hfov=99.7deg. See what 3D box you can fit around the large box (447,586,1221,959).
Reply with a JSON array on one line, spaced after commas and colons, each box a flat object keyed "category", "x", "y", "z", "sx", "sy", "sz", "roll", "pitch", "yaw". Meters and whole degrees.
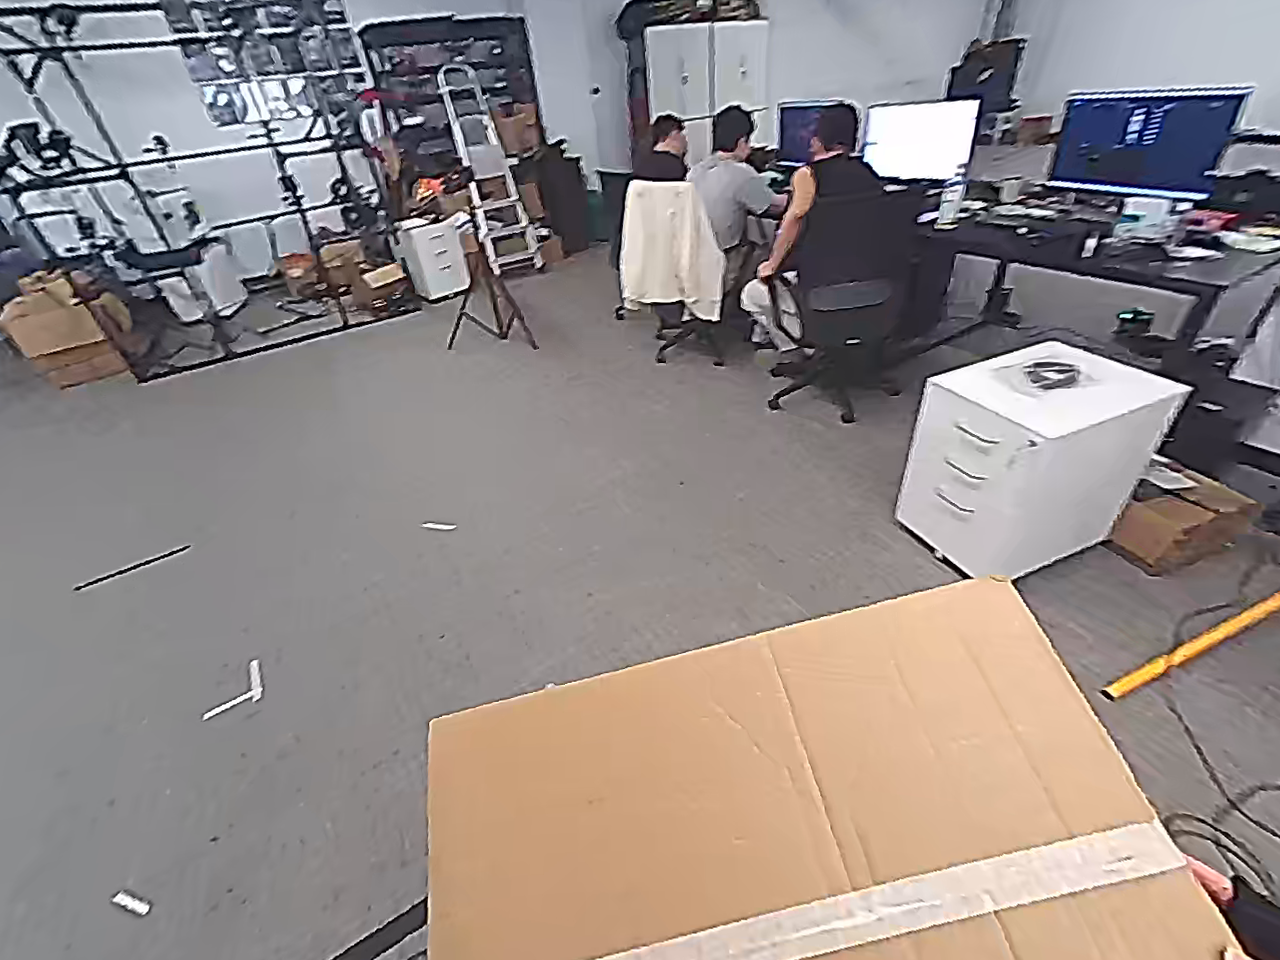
[{"category": "large box", "x": 0.108, "y": 0.326, "z": 0.422, "sx": 0.408, "sy": 0.320, "sz": 0.320, "roll": -15, "pitch": 59, "yaw": 1}]
